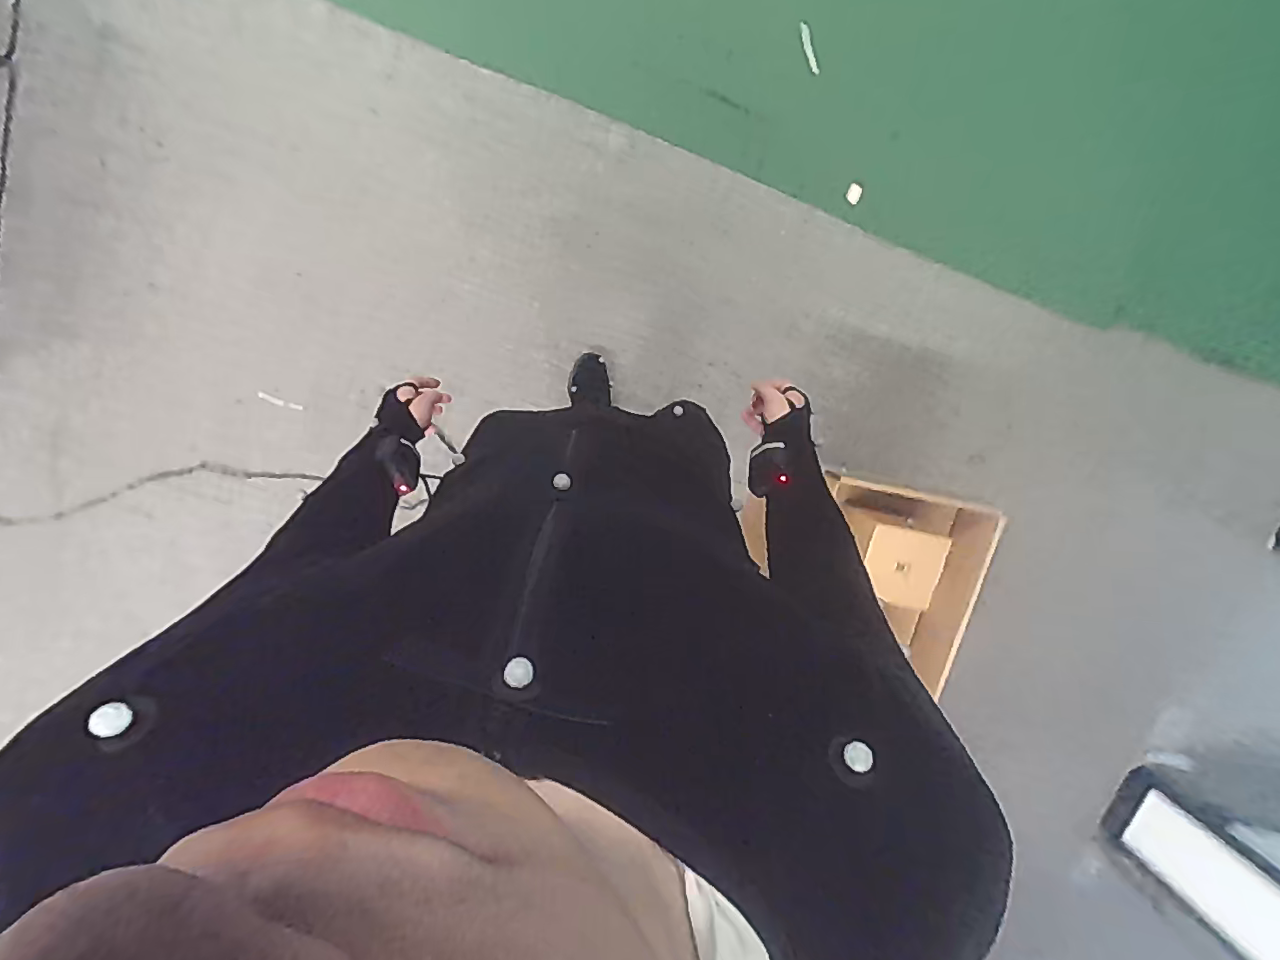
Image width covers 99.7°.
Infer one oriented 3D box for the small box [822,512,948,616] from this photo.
[{"bbox_3d":[0.534,0.180,1.205,0.179,0.176,0.168,12,101,-8],"label":"small box"}]
